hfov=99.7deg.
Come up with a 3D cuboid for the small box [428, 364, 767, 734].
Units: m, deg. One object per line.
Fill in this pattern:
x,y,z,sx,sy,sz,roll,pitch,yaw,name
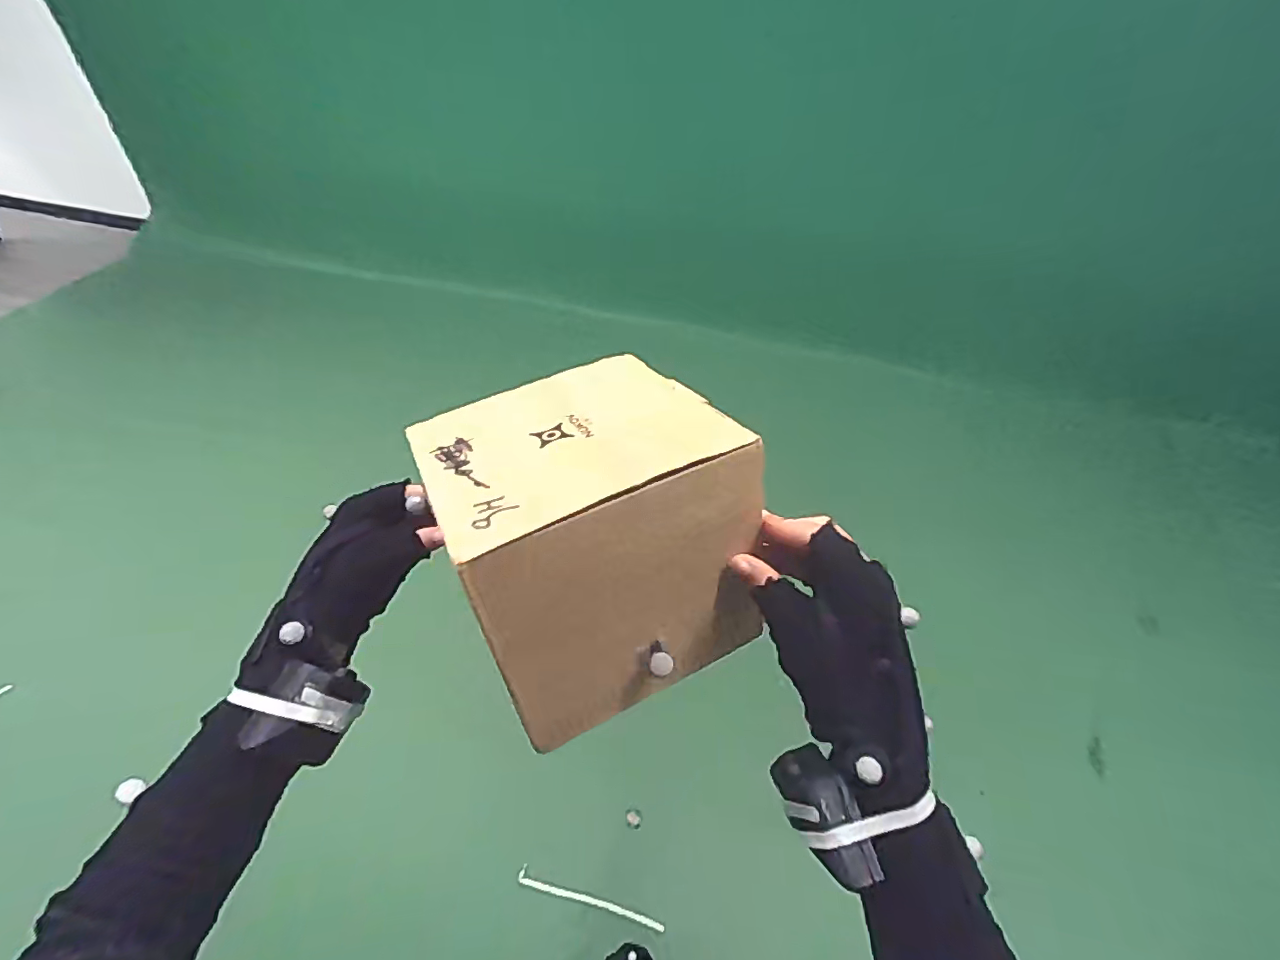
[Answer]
-0.030,0.038,0.391,0.179,0.176,0.168,-21,35,-20,small box
